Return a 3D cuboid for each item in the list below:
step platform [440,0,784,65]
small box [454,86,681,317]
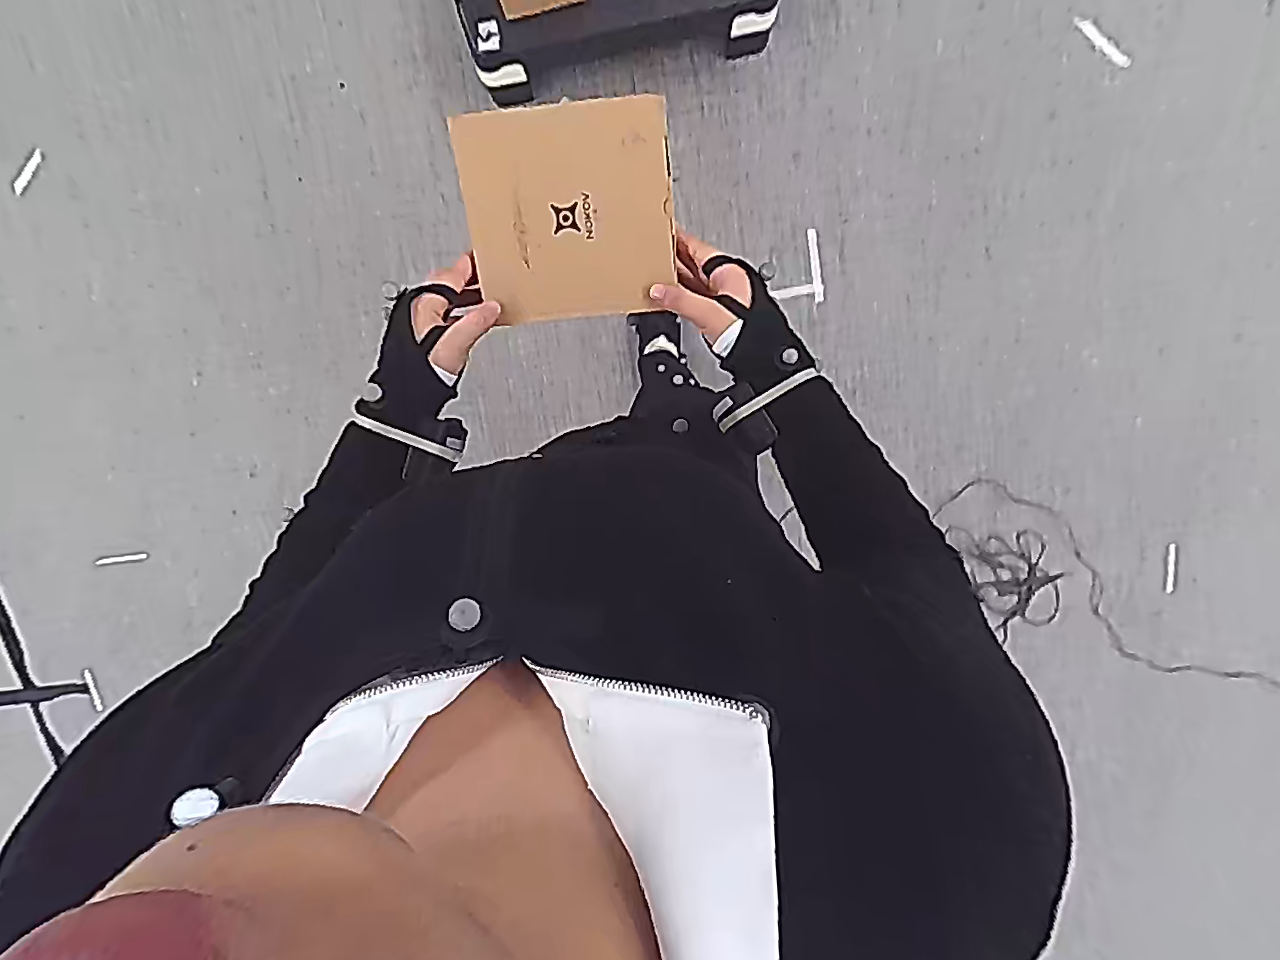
[{"bbox_3d":[-0.039,-0.997,0.965,0.684,0.204,0.286,-10,100,2],"label":"step platform"},{"bbox_3d":[-0.058,-0.259,0.536,0.179,0.176,0.168,-6,109,2],"label":"small box"}]
